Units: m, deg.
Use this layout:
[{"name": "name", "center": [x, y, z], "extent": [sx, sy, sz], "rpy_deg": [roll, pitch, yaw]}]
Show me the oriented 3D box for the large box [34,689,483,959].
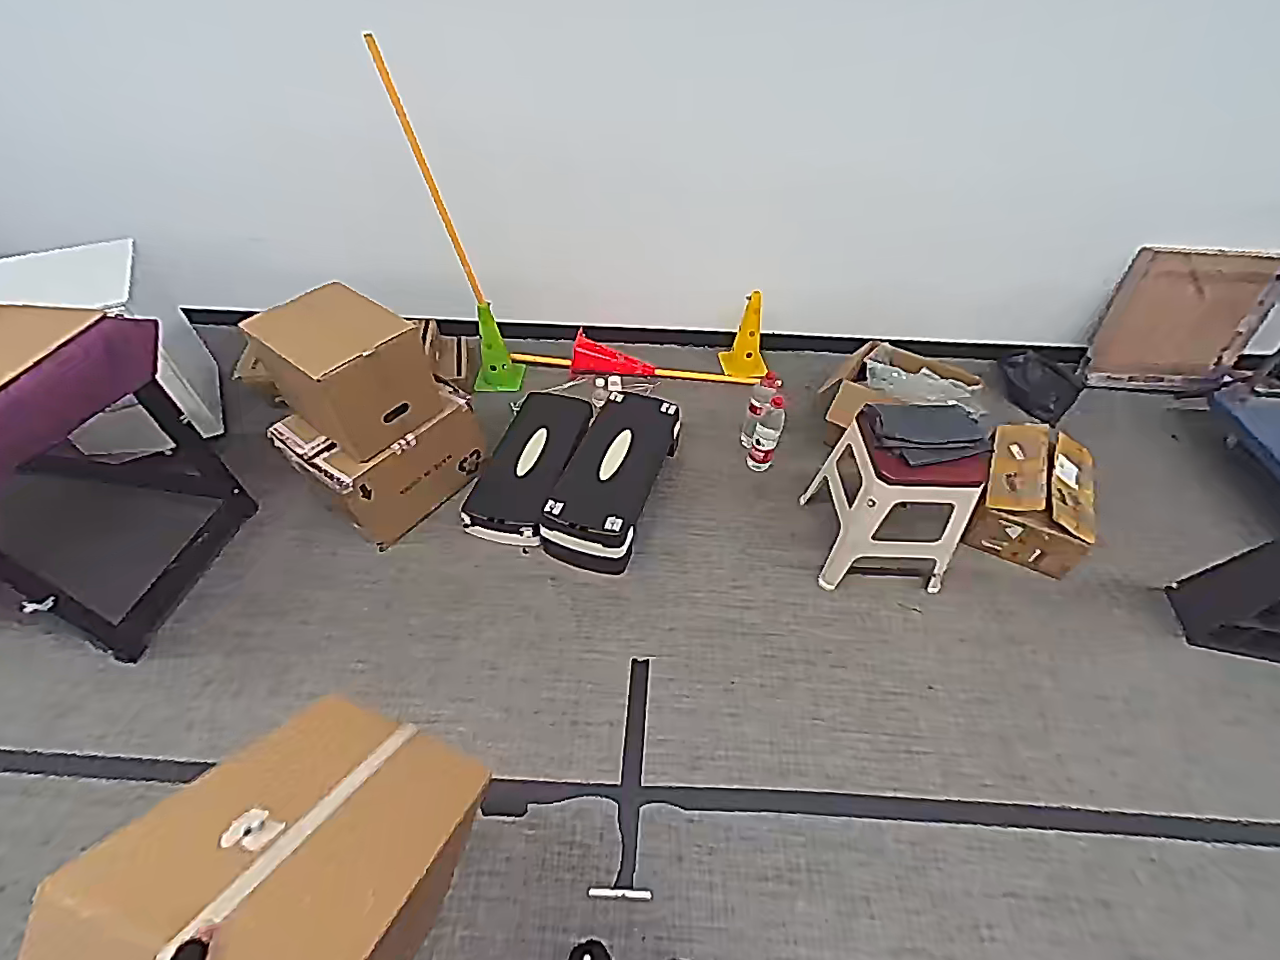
[{"name": "large box", "center": [-0.481, 0.576, 0.745], "extent": [0.320, 0.320, 0.408], "rpy_deg": [23, 10, 6]}]
